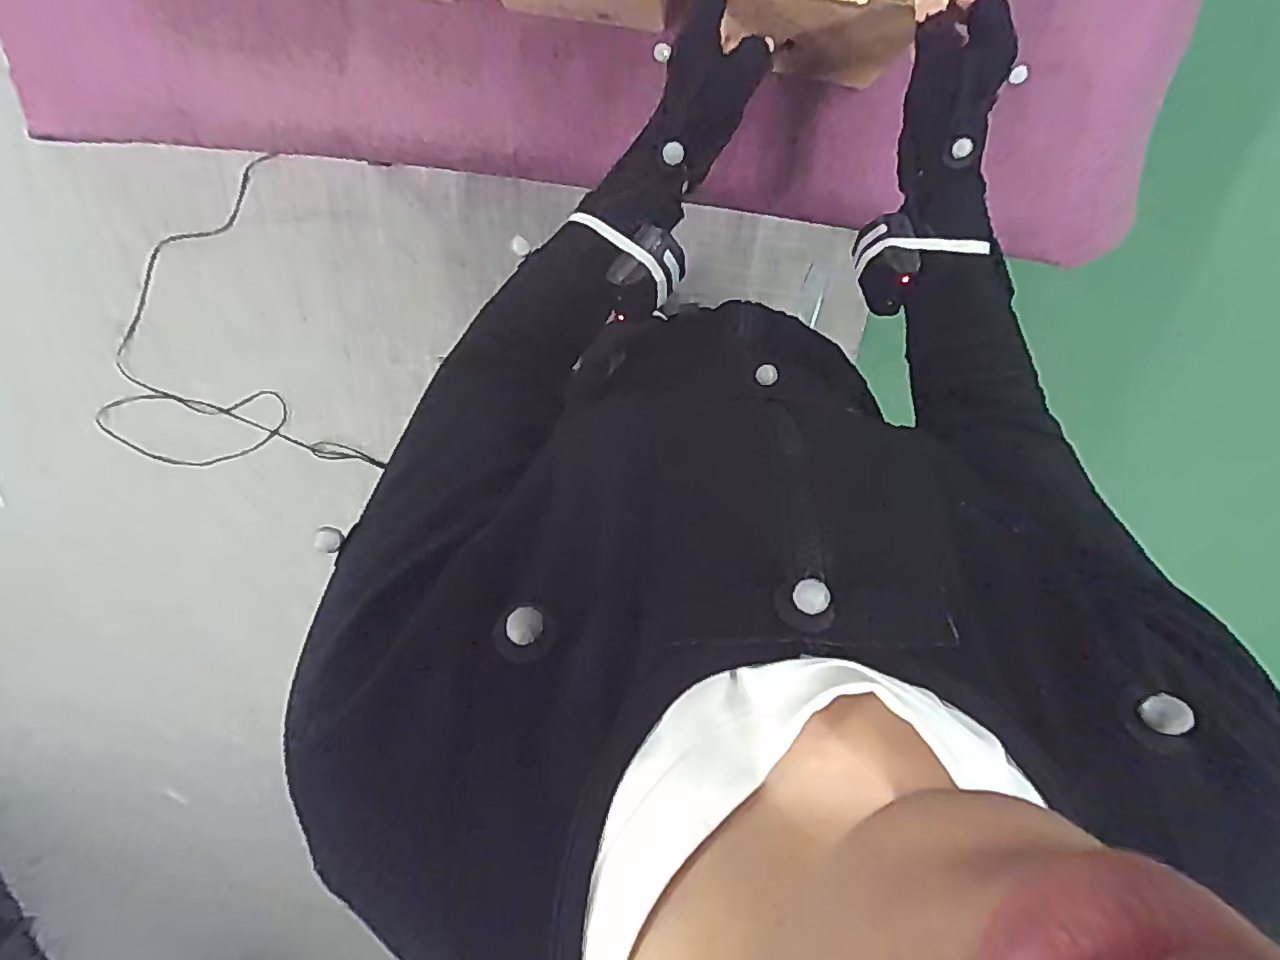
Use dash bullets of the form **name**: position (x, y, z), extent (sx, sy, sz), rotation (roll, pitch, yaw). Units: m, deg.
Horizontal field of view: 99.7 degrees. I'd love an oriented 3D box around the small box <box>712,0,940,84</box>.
- **small box**: position (0.161, -0.474, 0.453), extent (0.168, 0.176, 0.179), rotation (9, 111, -2)
